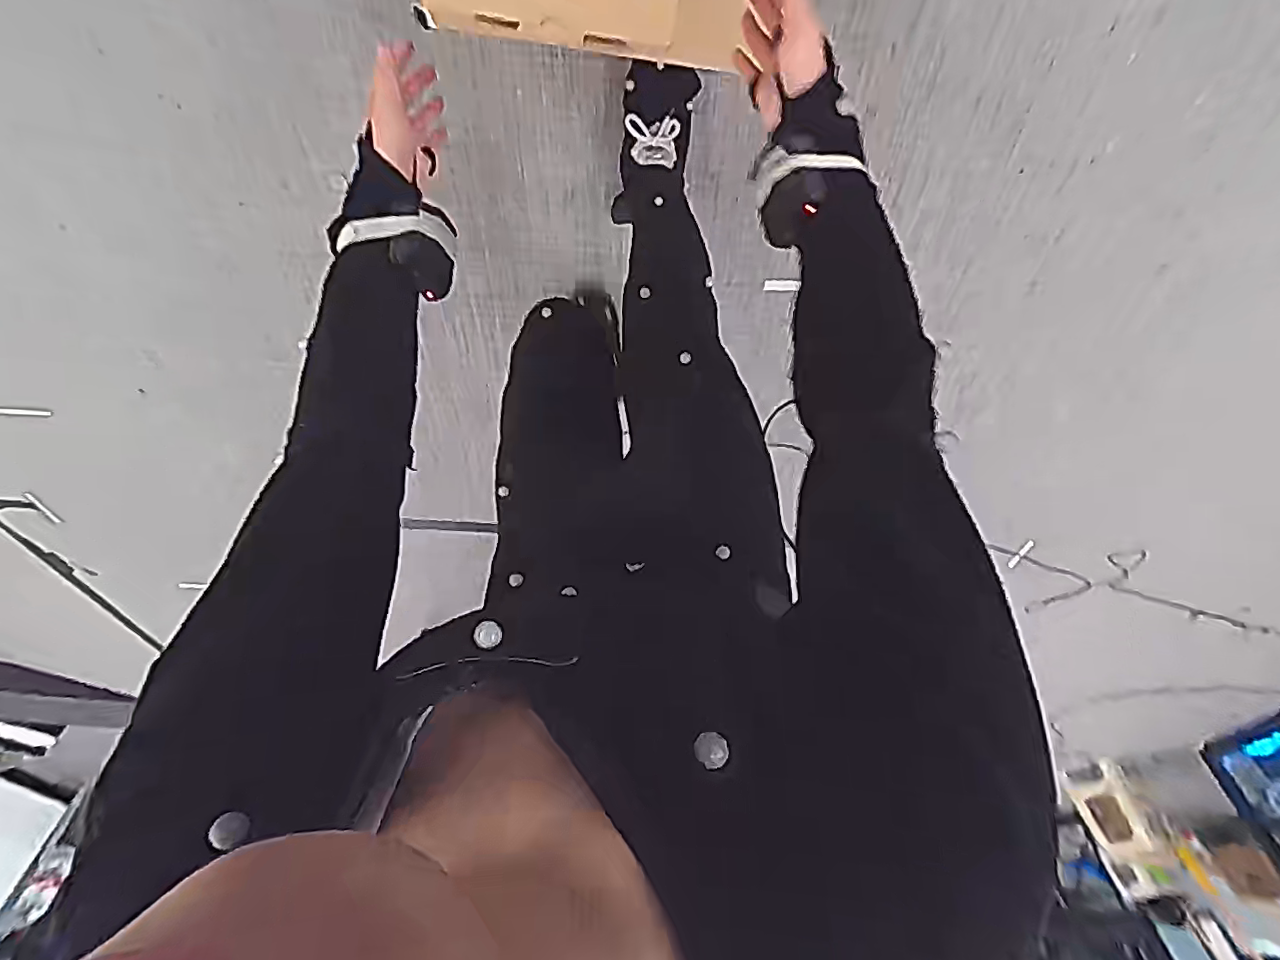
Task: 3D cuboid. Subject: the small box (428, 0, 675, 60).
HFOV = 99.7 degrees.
[{"bbox_3d":[-0.047,-0.417,0.361,0.168,0.176,0.179,6,136,-6],"label":"small box"}]
